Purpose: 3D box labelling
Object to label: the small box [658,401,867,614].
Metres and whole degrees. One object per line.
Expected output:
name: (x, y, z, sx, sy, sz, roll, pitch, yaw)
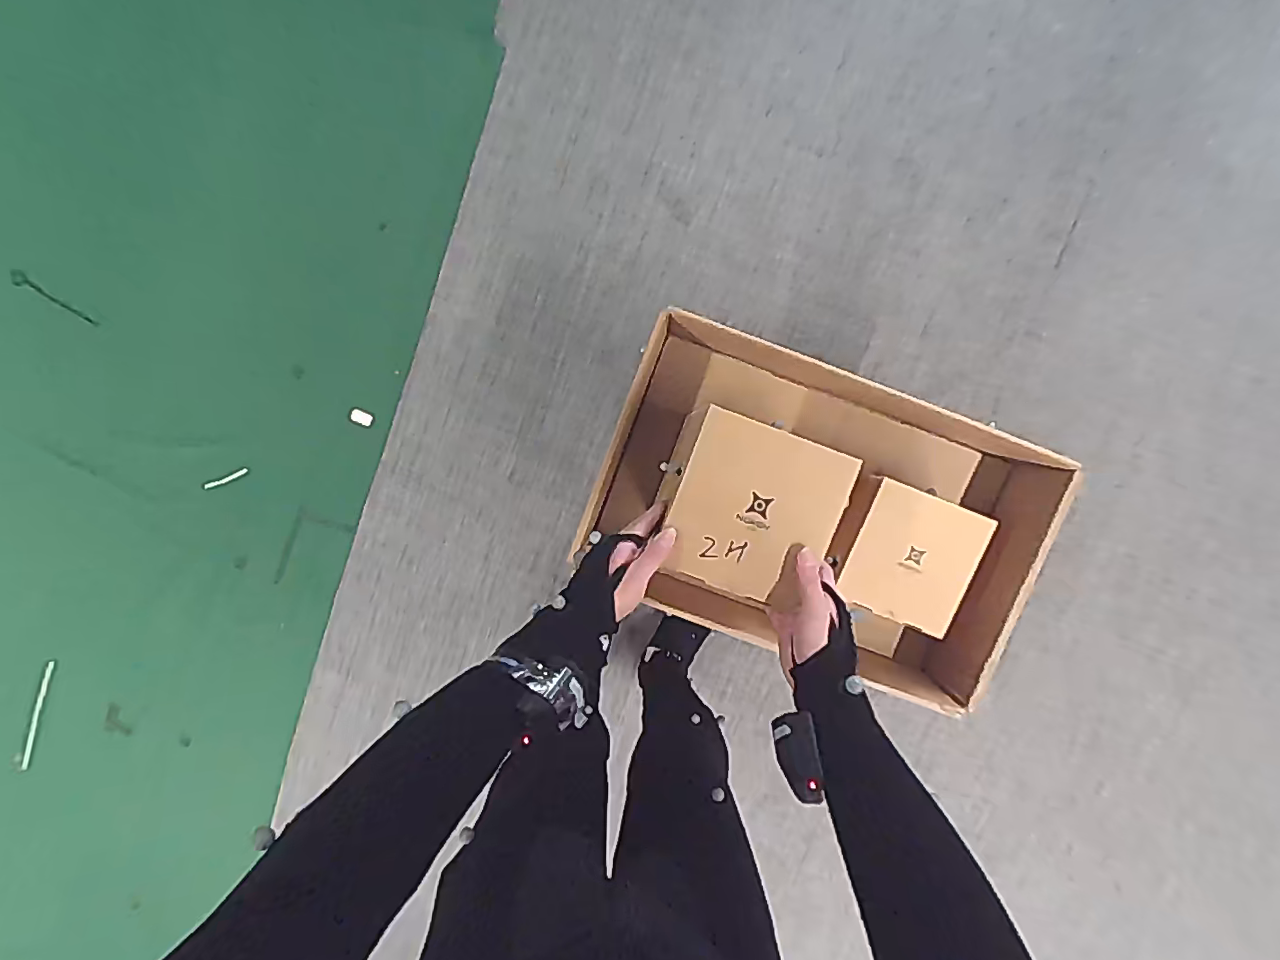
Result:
small box: (0.122, 0.022, 0.623, 0.168, 0.176, 0.179, 21, 96, -1)
